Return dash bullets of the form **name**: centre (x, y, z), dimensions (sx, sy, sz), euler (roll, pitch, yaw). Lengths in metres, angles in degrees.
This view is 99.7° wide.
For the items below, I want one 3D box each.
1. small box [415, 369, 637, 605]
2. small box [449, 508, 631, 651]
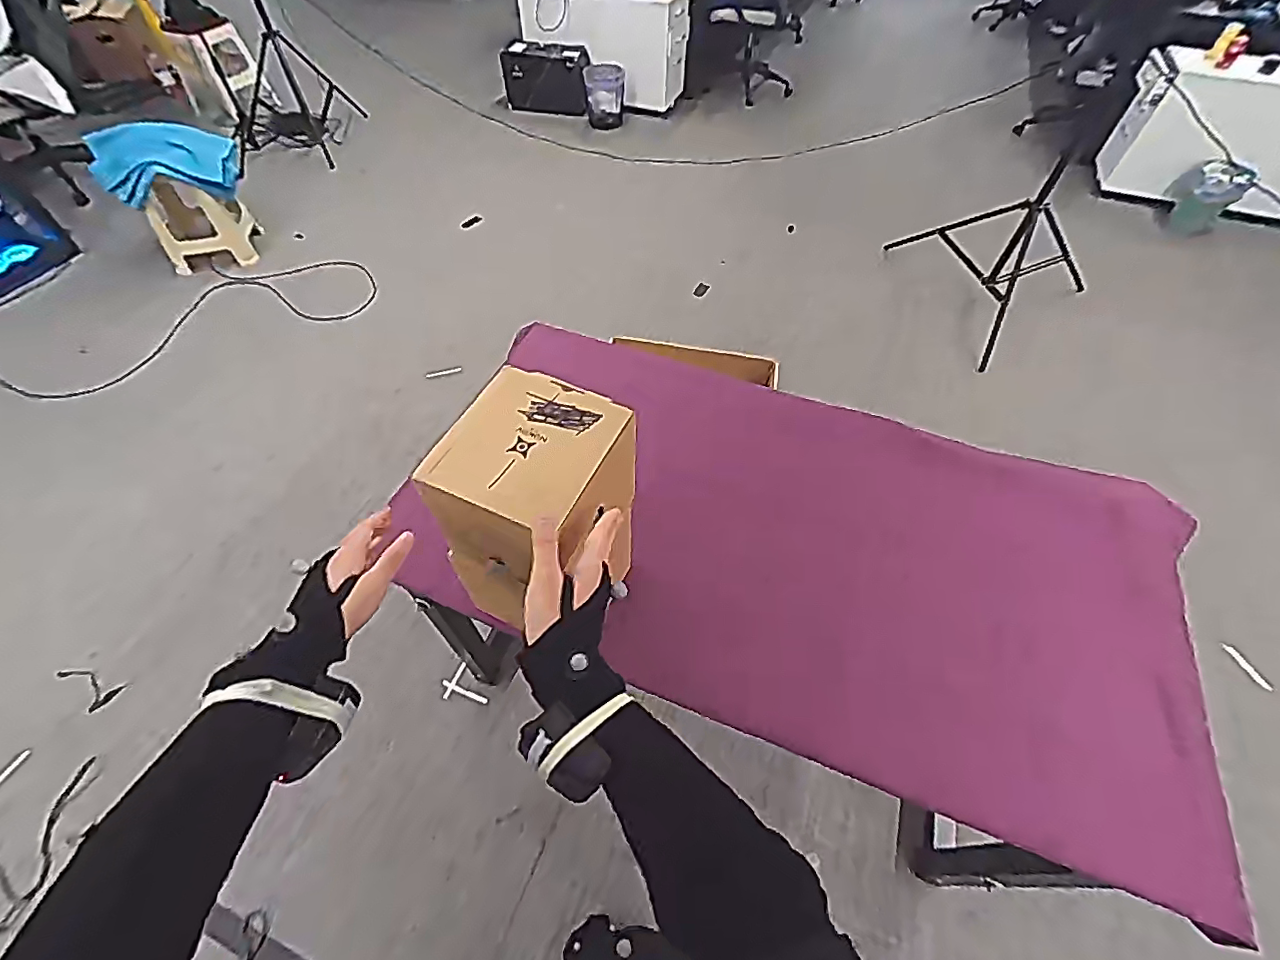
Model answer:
- **small box**: centre (-0.115, 0.011, 0.618), dimensions (0.168, 0.176, 0.179), euler (21, 57, 14)
- **small box**: centre (-0.123, 0.113, 0.747), dimensions (0.179, 0.176, 0.168), euler (22, 56, 15)
